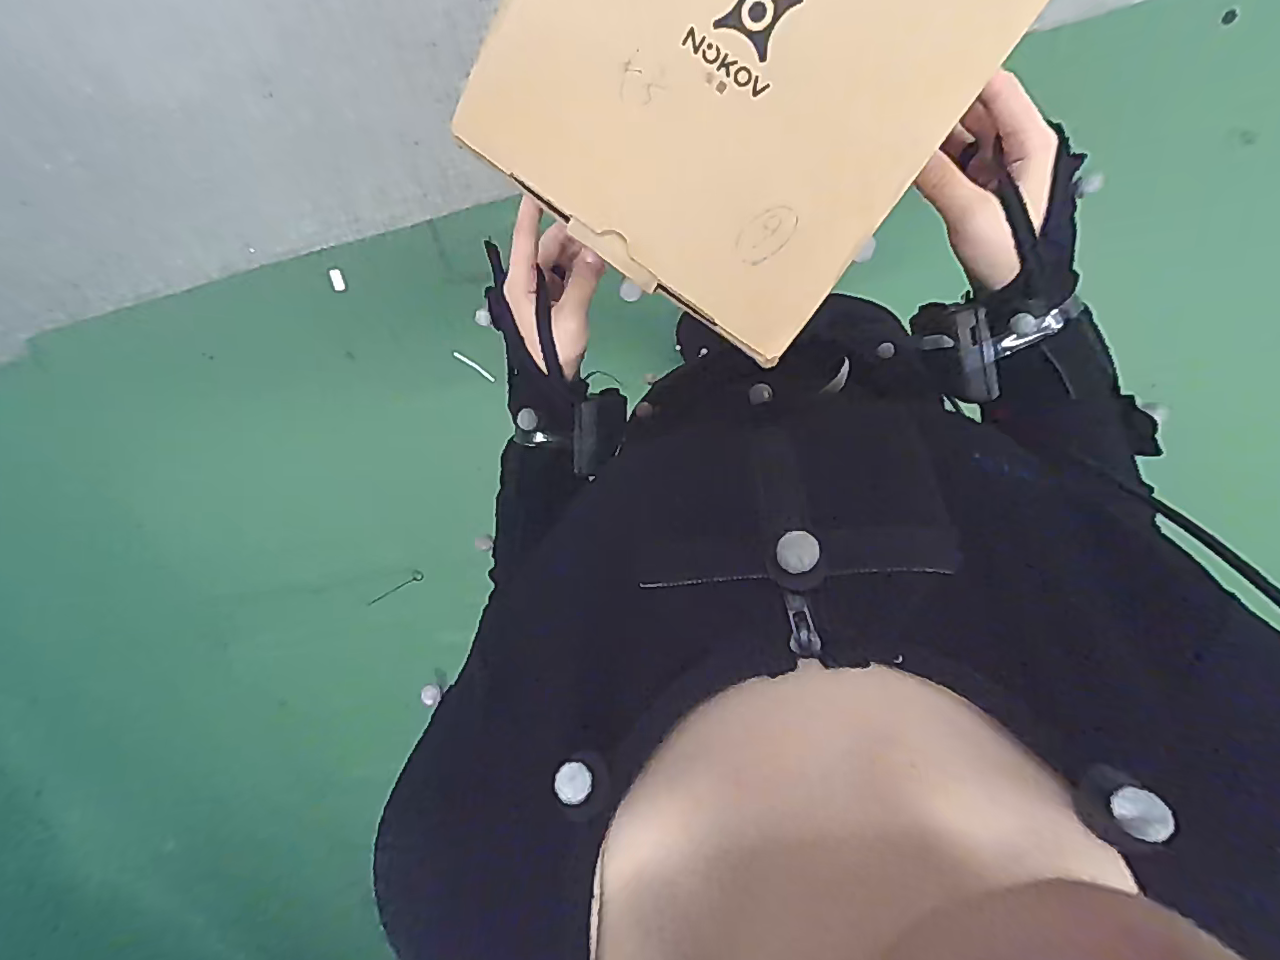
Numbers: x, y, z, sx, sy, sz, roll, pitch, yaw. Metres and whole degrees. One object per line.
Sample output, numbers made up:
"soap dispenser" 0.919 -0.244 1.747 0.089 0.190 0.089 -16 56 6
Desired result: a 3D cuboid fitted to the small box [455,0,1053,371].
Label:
"small box" 0.048 -0.178 0.276 0.168 0.176 0.179 36 108 -2
